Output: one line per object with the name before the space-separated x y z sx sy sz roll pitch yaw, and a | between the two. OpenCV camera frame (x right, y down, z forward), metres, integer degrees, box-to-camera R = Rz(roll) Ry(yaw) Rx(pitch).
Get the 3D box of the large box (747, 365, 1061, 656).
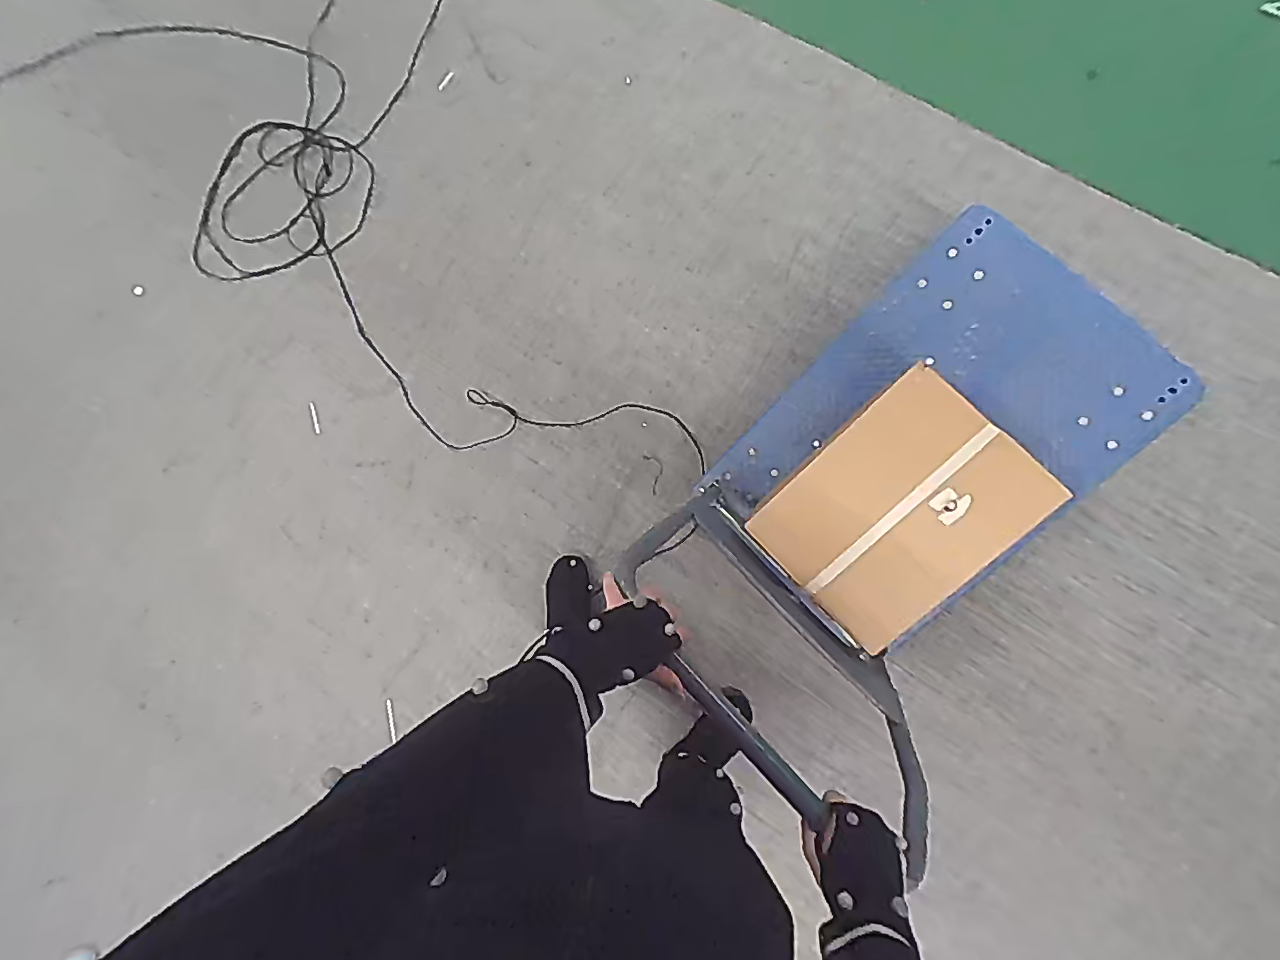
large box | 0.461 0.053 1.049 0.320 0.320 0.408 46 102 9
